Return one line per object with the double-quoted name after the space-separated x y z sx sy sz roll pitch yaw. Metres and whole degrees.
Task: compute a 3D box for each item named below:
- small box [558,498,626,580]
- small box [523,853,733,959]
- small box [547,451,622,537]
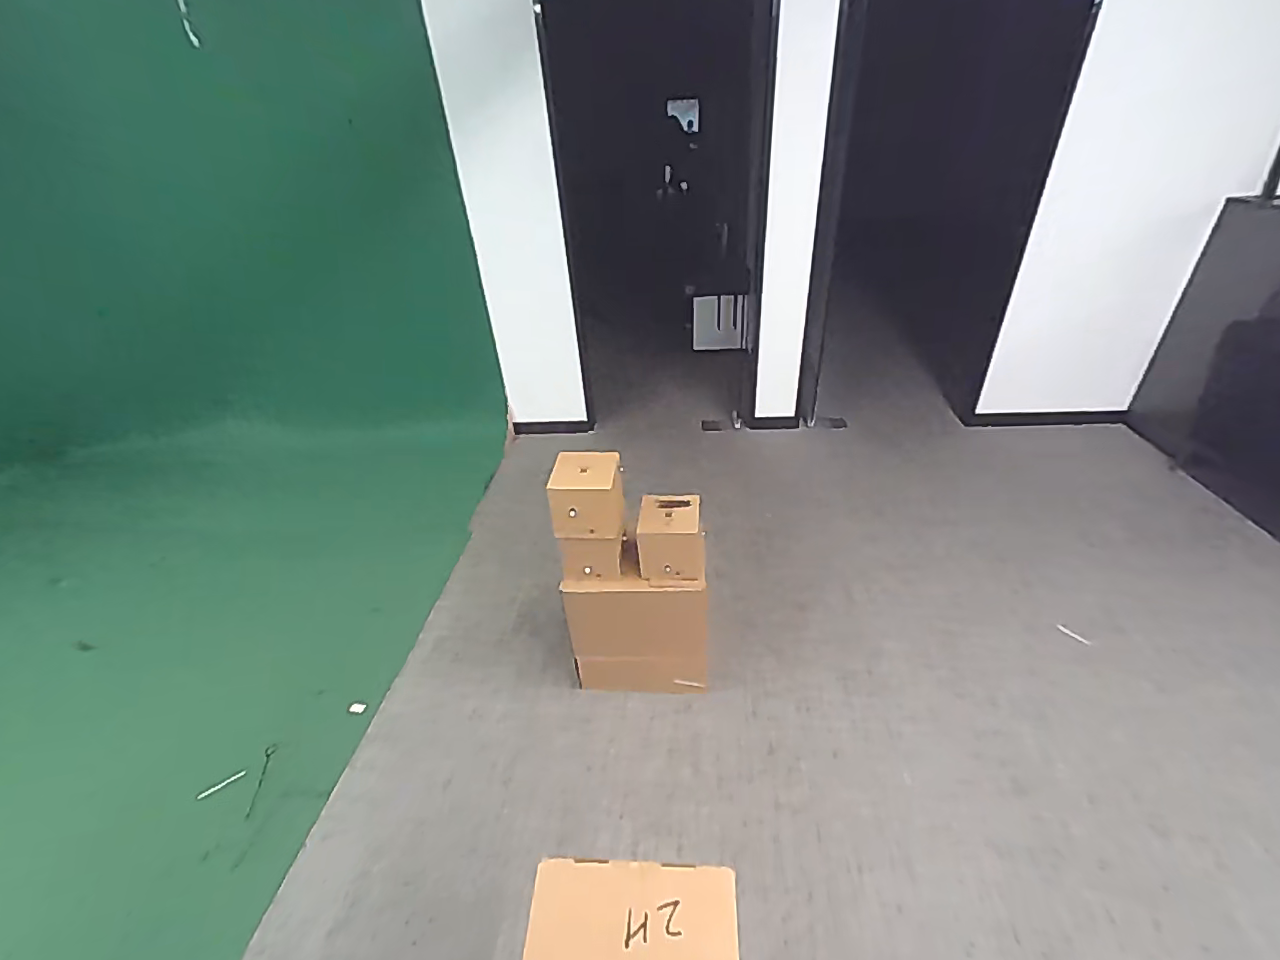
-0.131 0.165 1.558 0.168 0.176 0.179 1 36 6 "small box"
-0.004 0.443 0.459 0.168 0.176 0.179 -2 44 7 "small box"
-0.141 0.039 1.456 0.168 0.176 0.179 1 35 5 "small box"
